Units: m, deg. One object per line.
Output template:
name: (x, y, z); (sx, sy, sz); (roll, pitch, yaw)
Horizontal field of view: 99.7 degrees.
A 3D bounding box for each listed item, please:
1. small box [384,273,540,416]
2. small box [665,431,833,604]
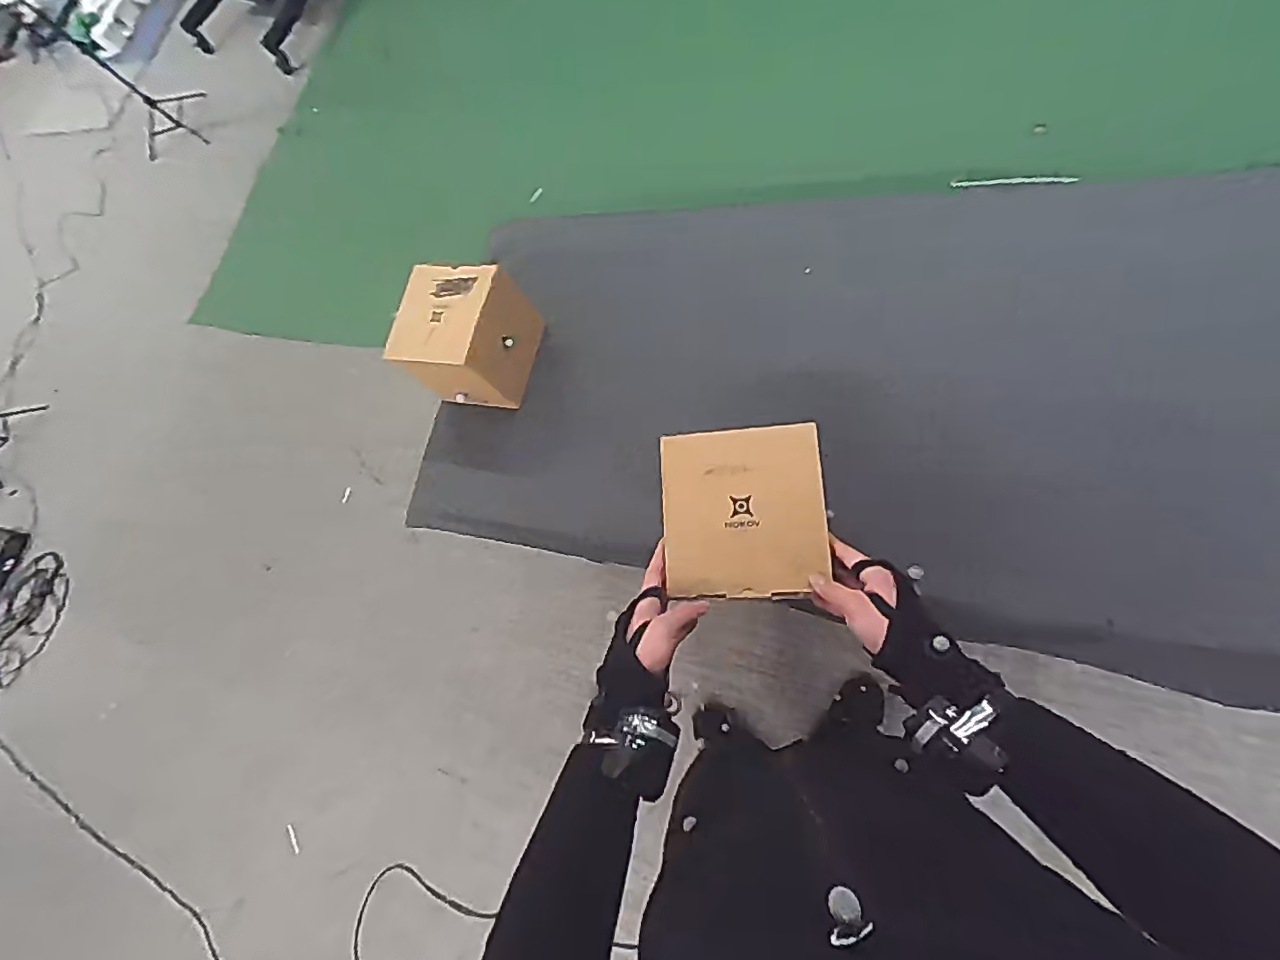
small box: (-0.292, -0.229, 0.928); (0.168, 0.176, 0.179); (9, 77, 20)
small box: (0.124, 0.056, 0.639); (0.168, 0.176, 0.179); (-4, 75, 9)
